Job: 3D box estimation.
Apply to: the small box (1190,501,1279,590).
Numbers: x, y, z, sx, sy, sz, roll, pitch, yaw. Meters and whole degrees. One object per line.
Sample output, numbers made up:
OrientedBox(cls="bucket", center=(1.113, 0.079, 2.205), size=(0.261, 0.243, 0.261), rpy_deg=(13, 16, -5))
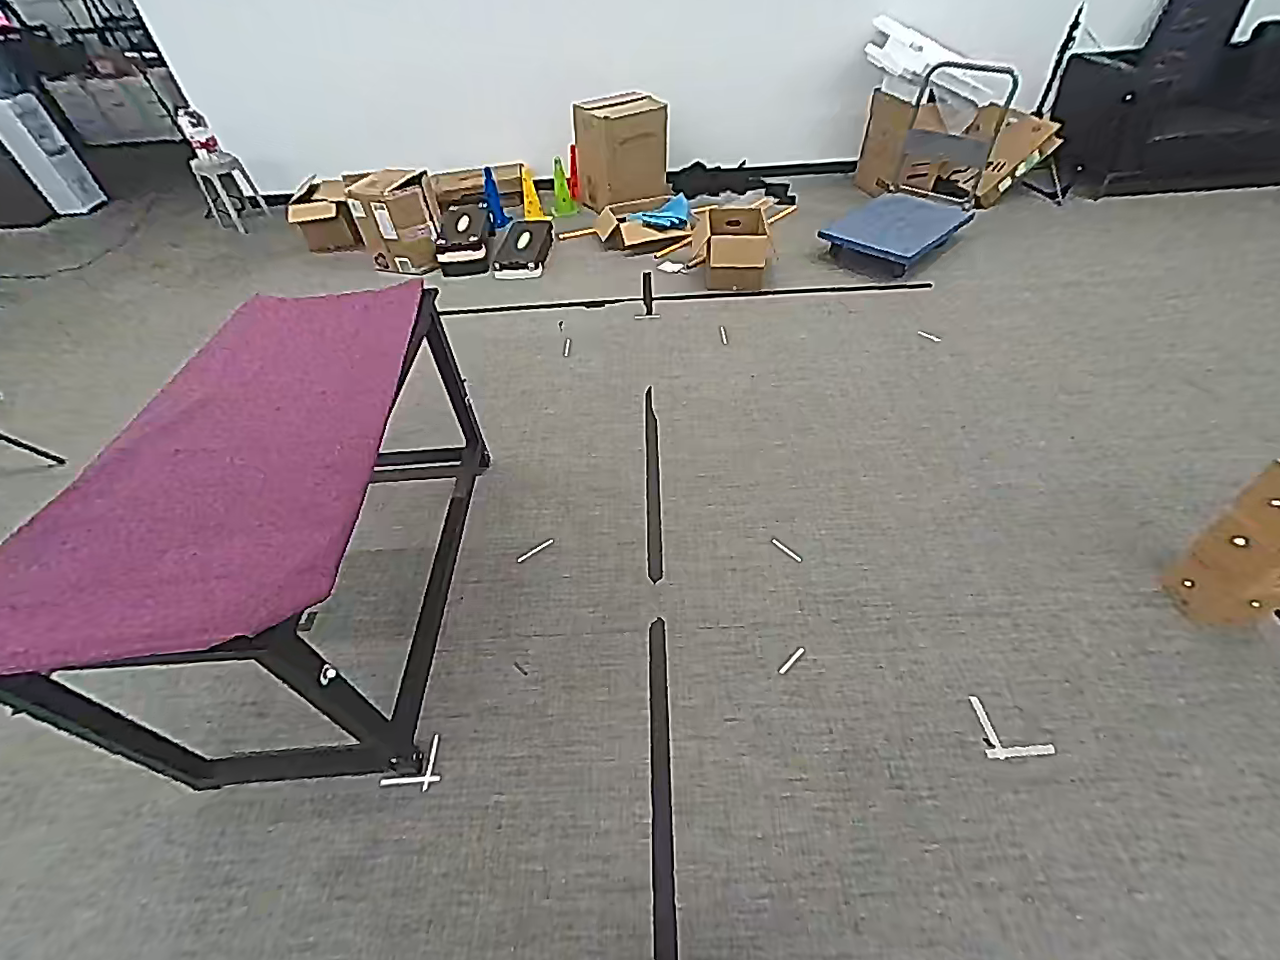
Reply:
OrientedBox(cls="small box", center=(1.685, 0.184, 1.466), size=(0.168, 0.176, 0.179), rpy_deg=(-7, 45, -3))

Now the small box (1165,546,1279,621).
OrientedBox(cls="small box", center=(1.703, 0.300, 1.577), size=(0.179, 0.176, 0.168), rpy_deg=(-1, 46, 3))
